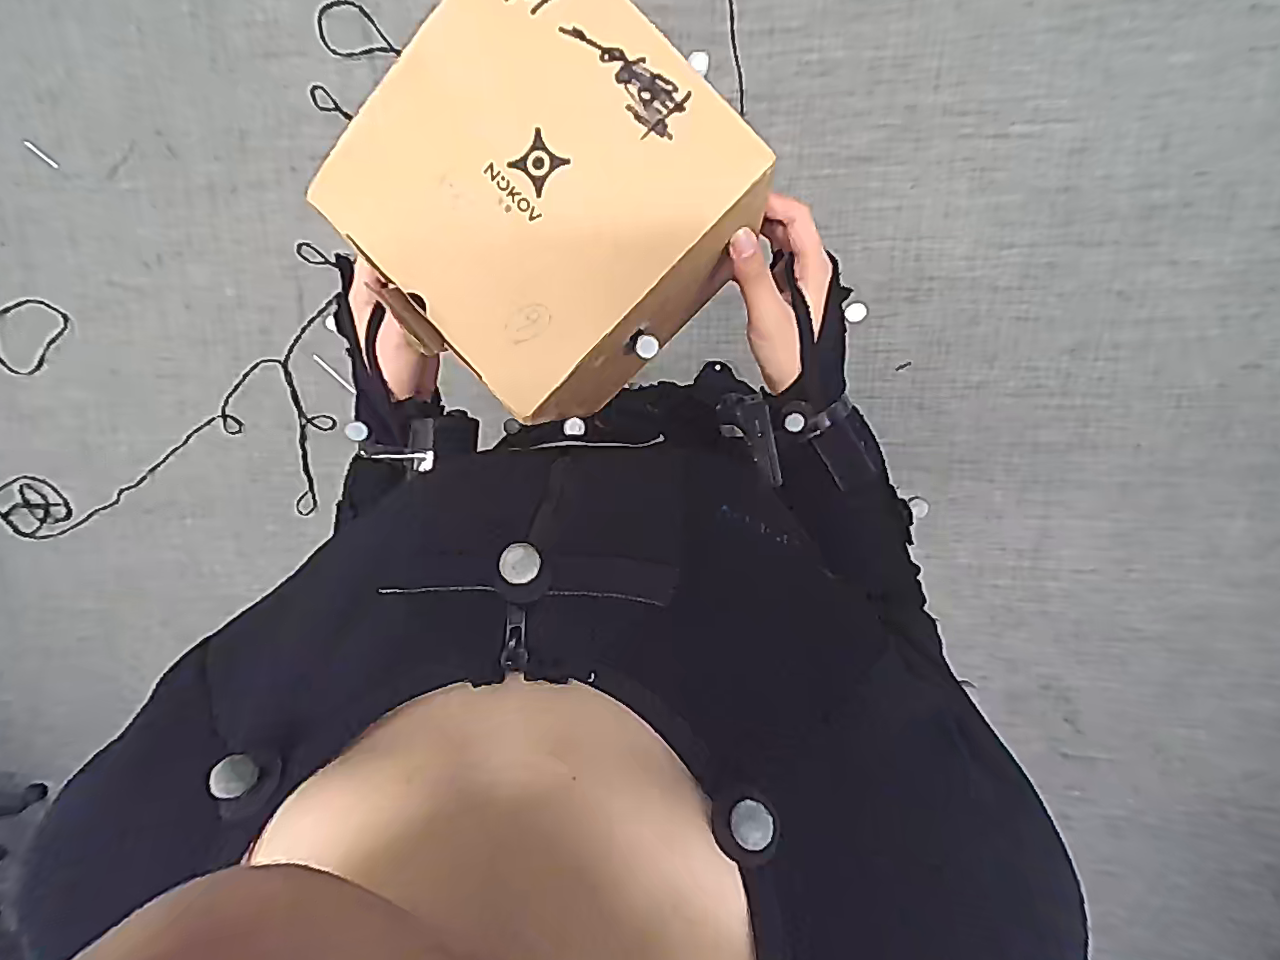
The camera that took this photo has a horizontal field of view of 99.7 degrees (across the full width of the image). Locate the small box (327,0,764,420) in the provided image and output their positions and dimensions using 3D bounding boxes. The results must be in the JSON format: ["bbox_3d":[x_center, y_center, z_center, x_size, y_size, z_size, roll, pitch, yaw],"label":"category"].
[{"bbox_3d":[-0.041,-0.158,0.349,0.179,0.176,0.168,-44,91,12],"label":"small box"}]
